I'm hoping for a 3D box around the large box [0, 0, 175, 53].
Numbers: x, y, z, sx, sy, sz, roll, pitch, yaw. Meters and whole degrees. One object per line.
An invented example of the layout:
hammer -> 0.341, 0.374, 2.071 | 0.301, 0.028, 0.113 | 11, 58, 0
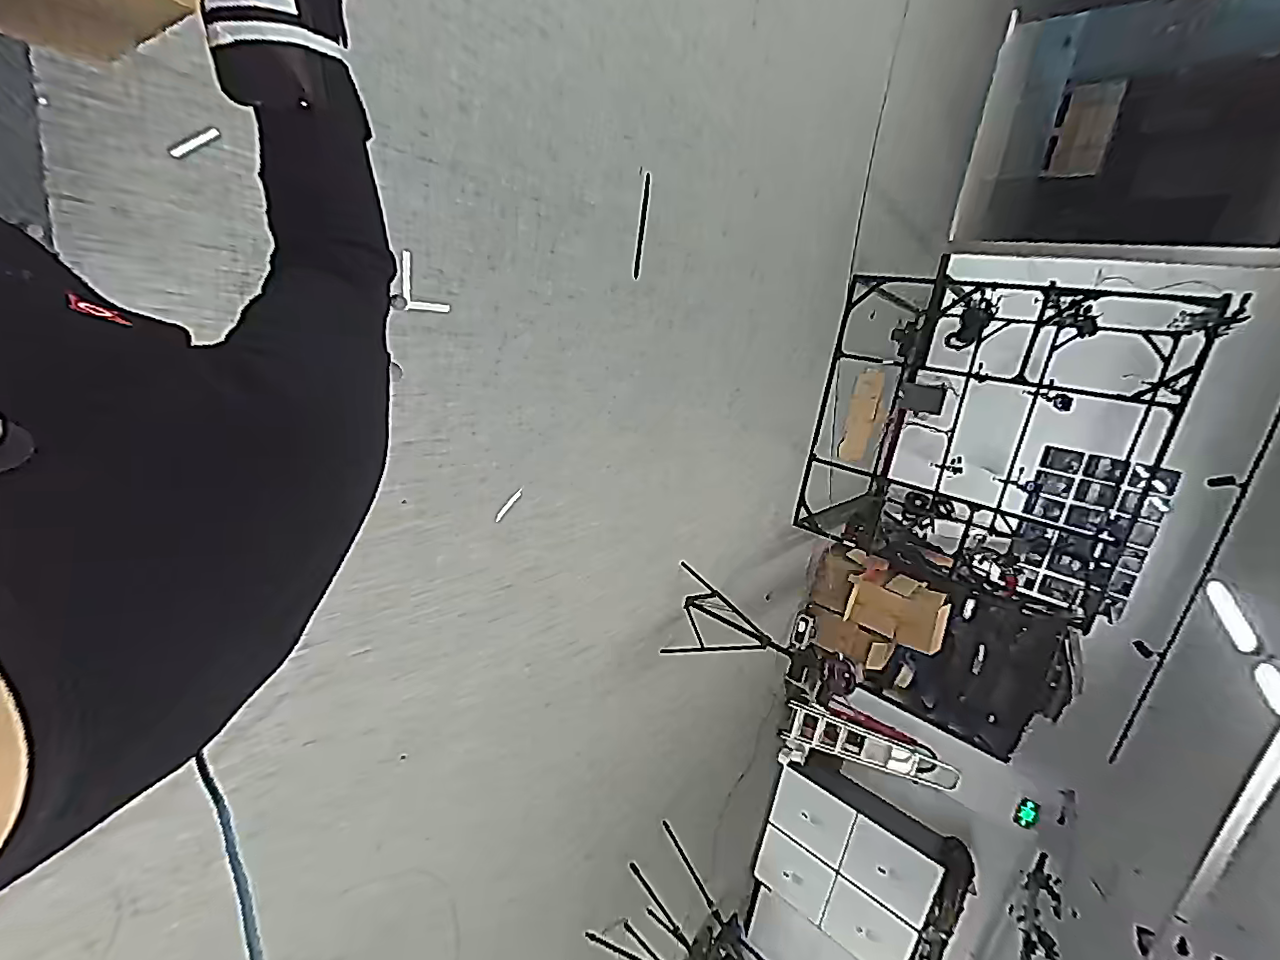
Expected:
large box -> -0.481, -0.456, 0.217 | 0.408, 0.320, 0.320 | -11, 118, -50
